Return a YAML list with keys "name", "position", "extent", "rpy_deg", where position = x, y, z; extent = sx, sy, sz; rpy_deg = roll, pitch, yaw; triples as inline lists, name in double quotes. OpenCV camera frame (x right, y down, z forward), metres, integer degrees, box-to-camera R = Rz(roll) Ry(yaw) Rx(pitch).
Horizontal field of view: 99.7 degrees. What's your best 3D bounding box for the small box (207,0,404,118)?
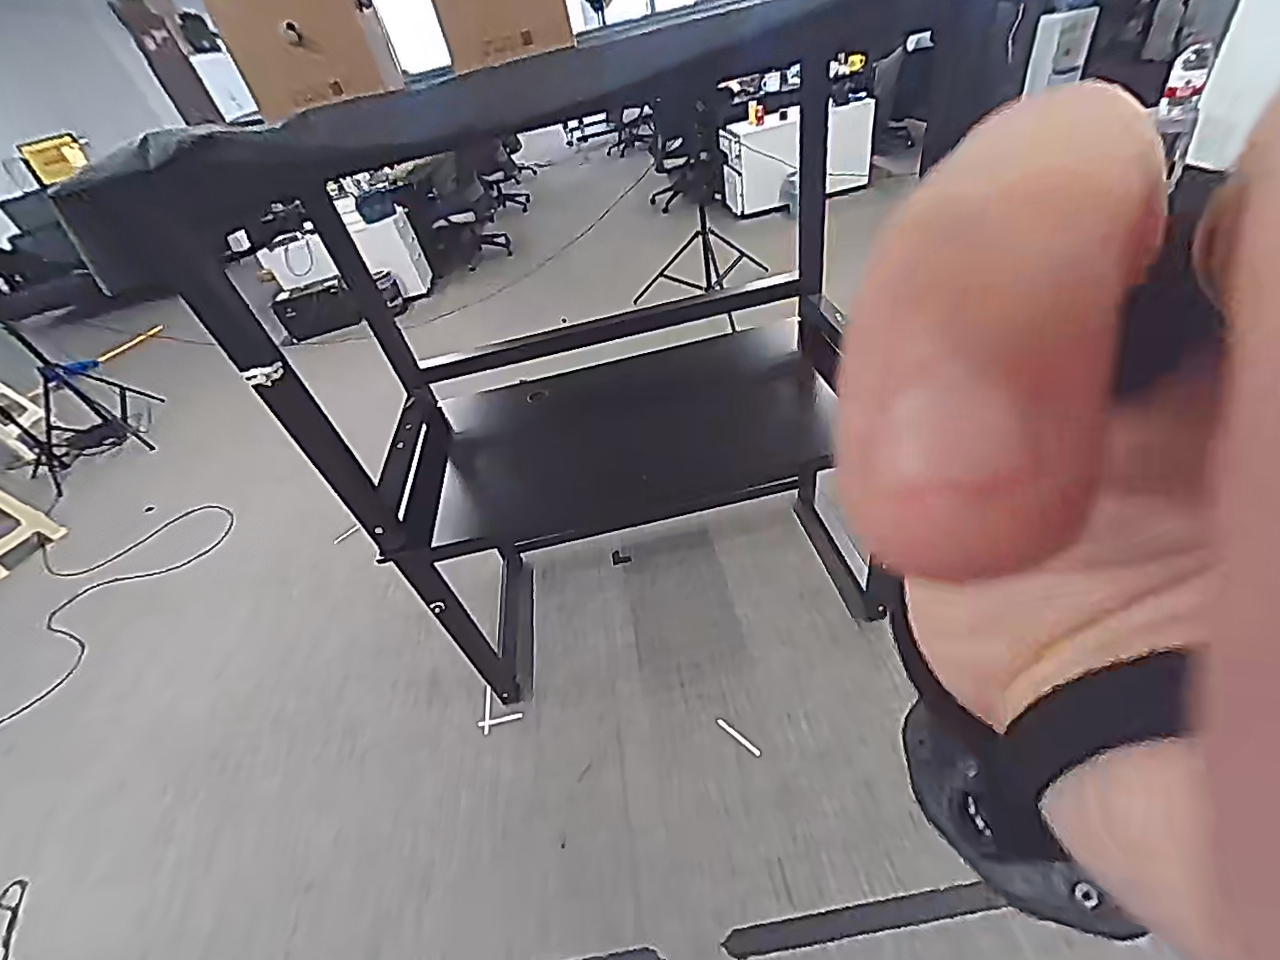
- name: "small box"
  position: [-0.435, -0.600, 0.719]
  extent: [0.168, 0.176, 0.179]
  rpy_deg: [-15, 40, -3]
